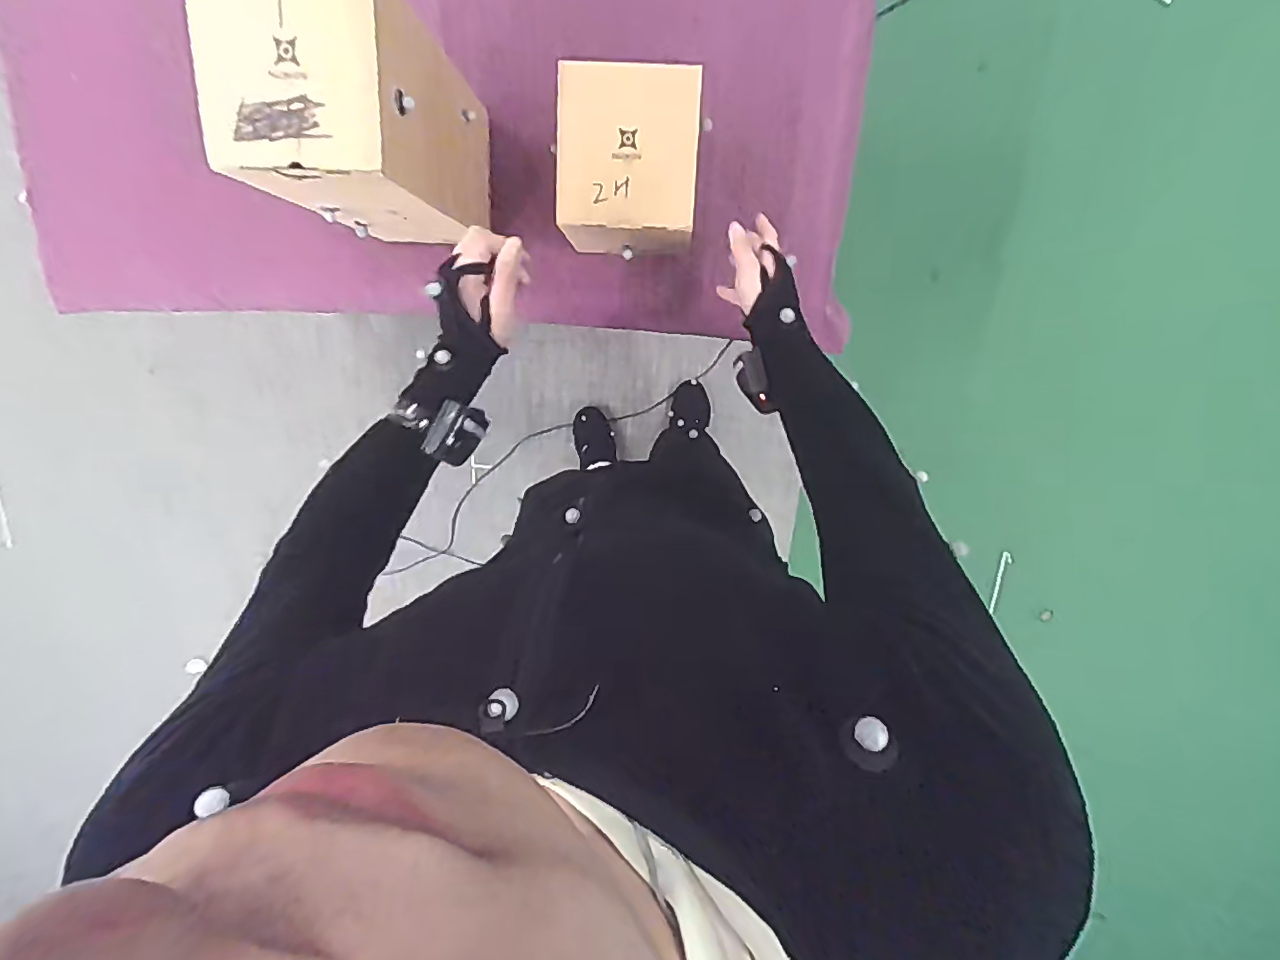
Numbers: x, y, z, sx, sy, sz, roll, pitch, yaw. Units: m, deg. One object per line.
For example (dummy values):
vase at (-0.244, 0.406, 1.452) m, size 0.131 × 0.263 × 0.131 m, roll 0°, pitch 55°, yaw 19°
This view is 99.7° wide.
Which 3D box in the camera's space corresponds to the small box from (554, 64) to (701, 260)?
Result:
small box at (-0.015, -0.400, 0.708) m, size 0.168 × 0.176 × 0.179 m, roll 3°, pitch 103°, yaw 1°

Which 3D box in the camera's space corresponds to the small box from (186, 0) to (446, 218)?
small box at (-0.308, -0.381, 0.552) m, size 0.168 × 0.176 × 0.179 m, roll 3°, pitch 102°, yaw 0°
